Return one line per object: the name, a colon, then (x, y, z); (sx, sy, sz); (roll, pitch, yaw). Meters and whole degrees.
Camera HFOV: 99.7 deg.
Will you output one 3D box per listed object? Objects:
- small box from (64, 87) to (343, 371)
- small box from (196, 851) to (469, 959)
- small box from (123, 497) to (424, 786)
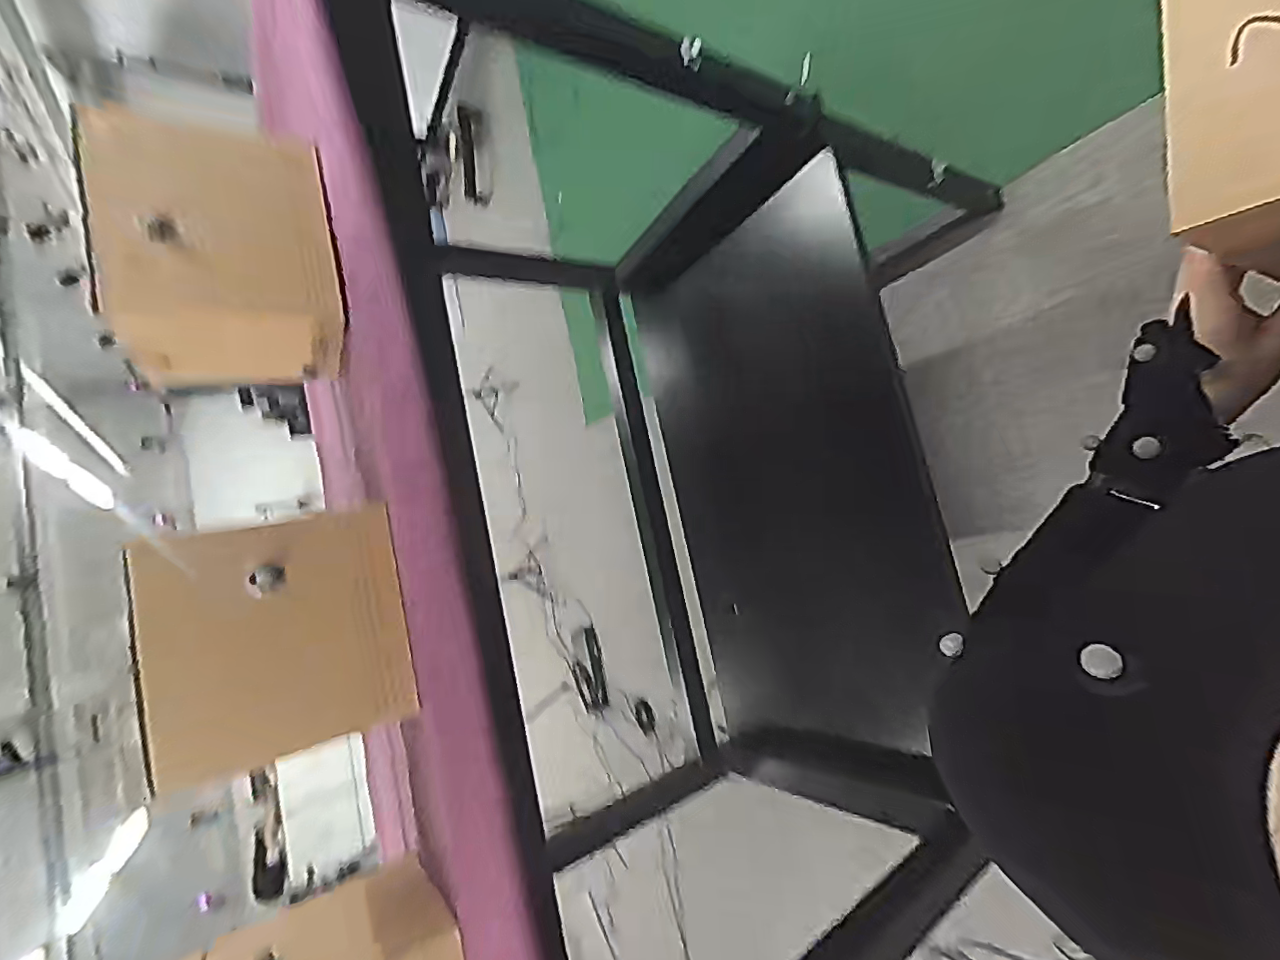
small box: (-0.390, -0.216, 0.513); (0.168, 0.176, 0.179); (-20, 81, 56)
small box: (-0.227, 0.426, 0.412); (0.179, 0.176, 0.168); (-23, 76, 54)
small box: (-0.298, 0.116, 0.457); (0.168, 0.176, 0.179); (-24, 78, 54)
